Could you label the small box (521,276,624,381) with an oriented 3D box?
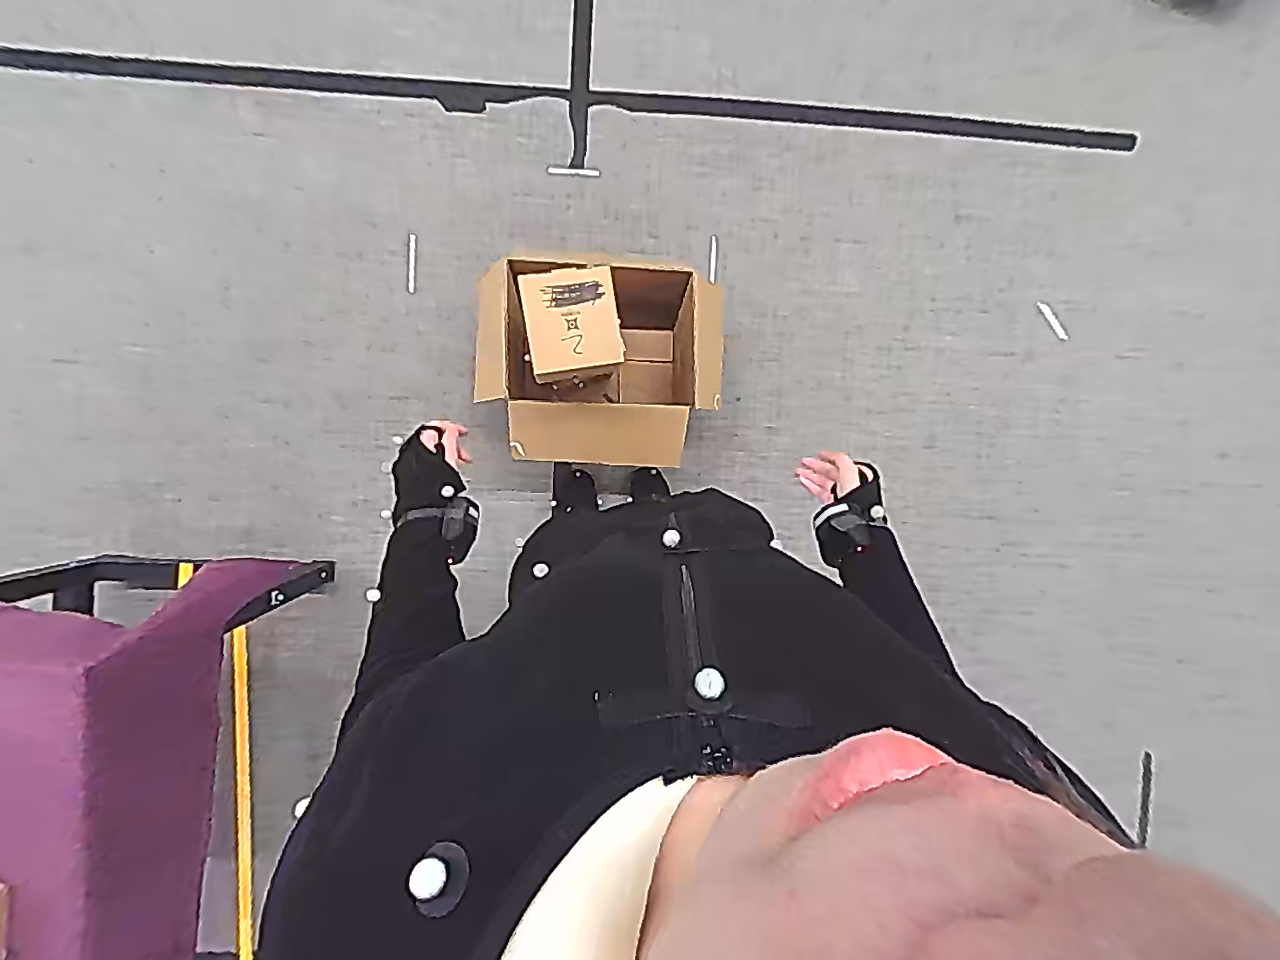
[{"bbox_3d":[-0.149,-0.327,1.202,0.179,0.176,0.168,-20,97,-7],"label":"small box"}]
